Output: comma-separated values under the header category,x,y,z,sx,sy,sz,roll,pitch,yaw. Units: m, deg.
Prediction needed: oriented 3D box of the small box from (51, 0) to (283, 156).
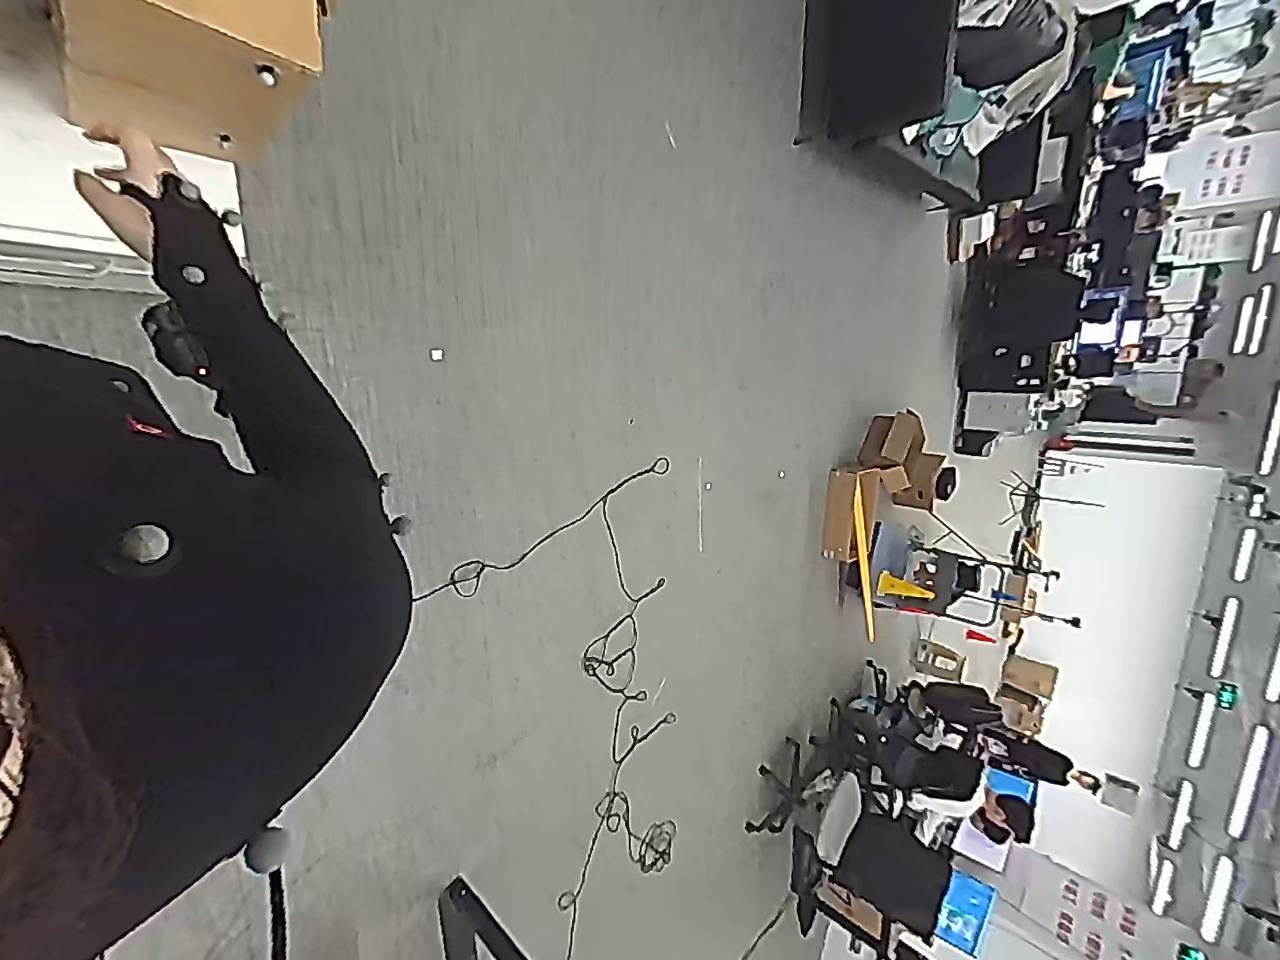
category,x,y,z,sx,sy,sz,roll,pitch,yaw
small box,-0.528,-0.489,0.605,0.179,0.176,0.168,-9,104,-44
